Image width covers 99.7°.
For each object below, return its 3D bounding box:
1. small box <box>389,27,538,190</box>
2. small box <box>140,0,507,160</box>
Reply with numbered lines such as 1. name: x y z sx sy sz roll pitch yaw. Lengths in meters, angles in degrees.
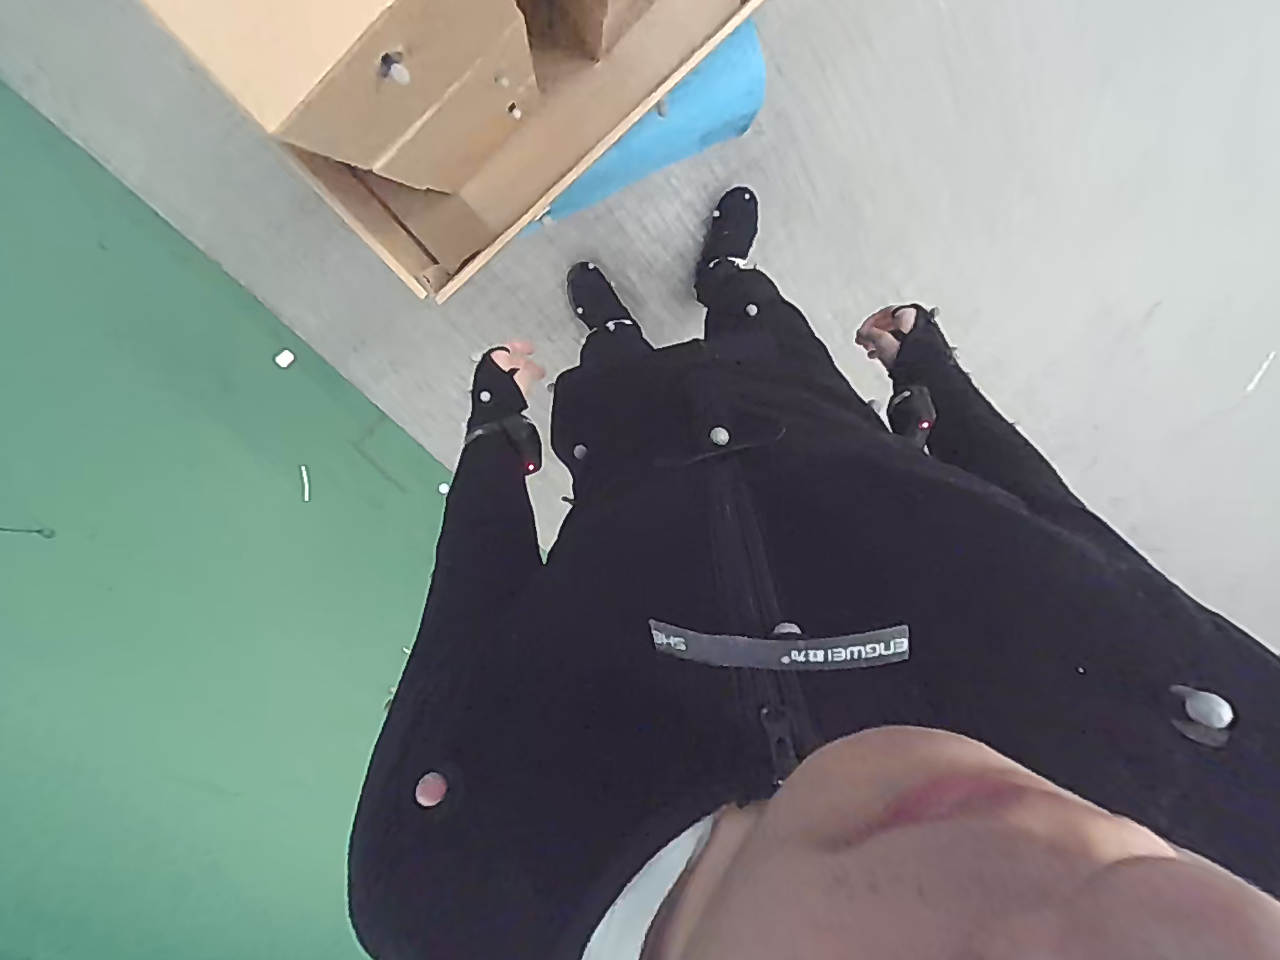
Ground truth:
1. small box: -0.236 -0.473 0.639 0.179 0.176 0.168 -39 113 11
2. small box: -0.204 -0.337 0.341 0.179 0.176 0.168 -37 113 10
